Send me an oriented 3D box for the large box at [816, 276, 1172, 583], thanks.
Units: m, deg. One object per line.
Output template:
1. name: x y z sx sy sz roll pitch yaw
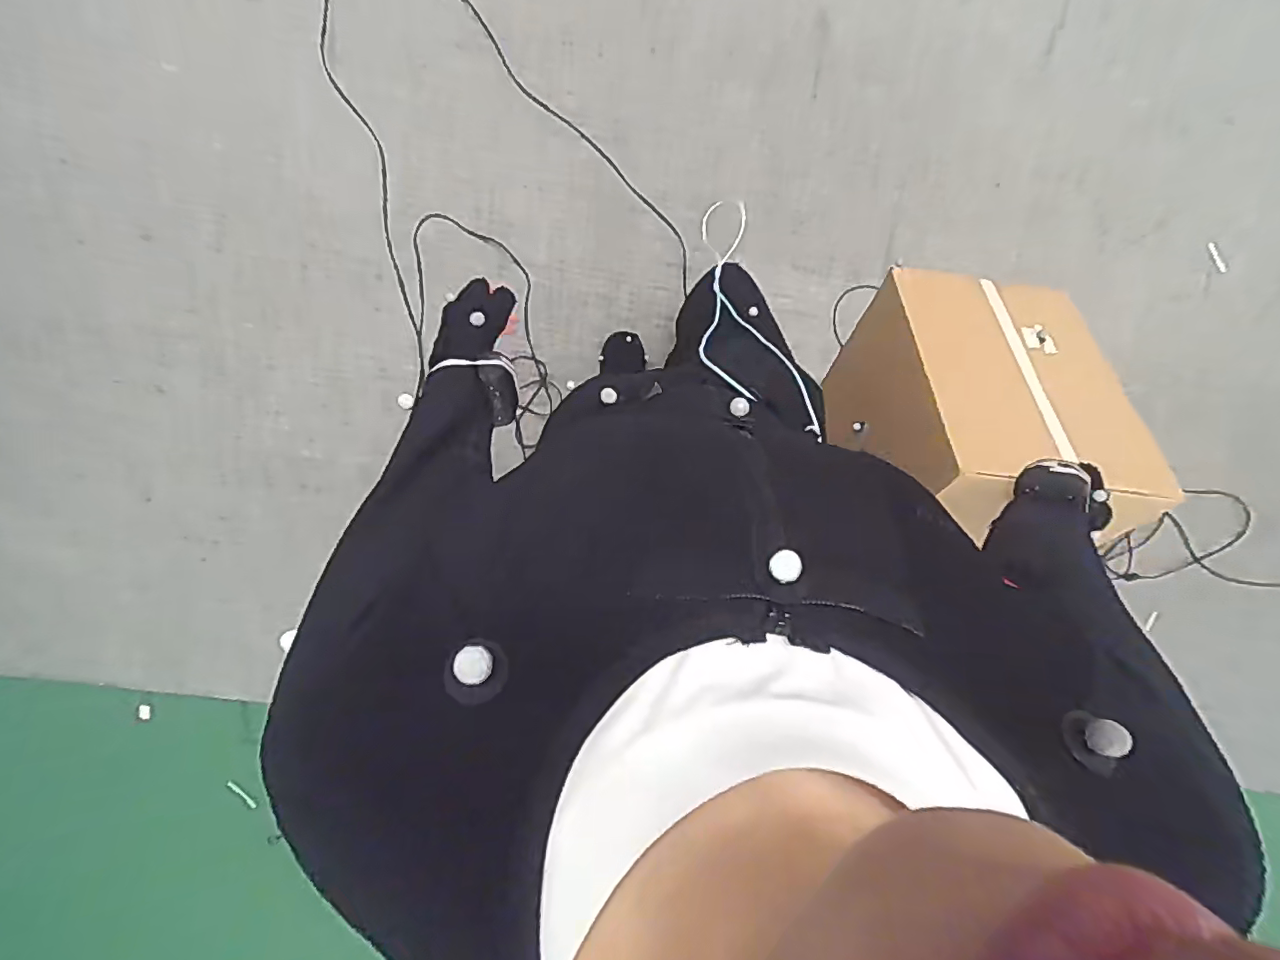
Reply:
1. large box: 0.527 -0.074 0.916 0.320 0.408 0.320 7 146 -6
